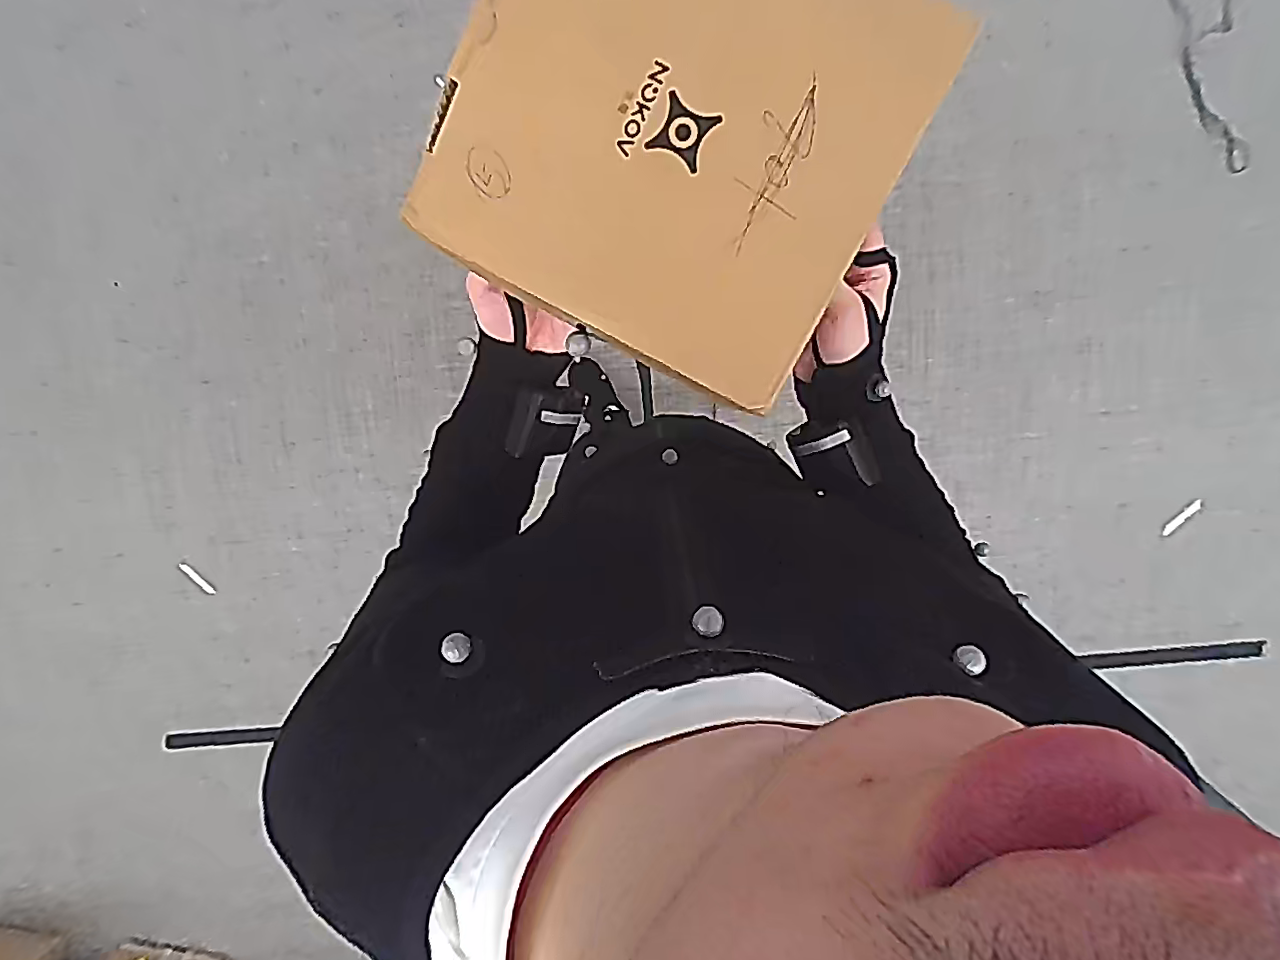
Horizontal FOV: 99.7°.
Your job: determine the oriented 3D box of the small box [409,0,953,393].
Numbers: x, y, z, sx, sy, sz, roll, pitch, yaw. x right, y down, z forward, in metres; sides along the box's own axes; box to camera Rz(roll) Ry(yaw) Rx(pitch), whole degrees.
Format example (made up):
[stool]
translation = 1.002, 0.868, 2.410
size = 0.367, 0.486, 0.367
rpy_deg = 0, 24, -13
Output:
[small box]
translation = 0.015, -0.159, 0.302
size = 0.179, 0.176, 0.168
rpy_deg = 27, 101, -3
